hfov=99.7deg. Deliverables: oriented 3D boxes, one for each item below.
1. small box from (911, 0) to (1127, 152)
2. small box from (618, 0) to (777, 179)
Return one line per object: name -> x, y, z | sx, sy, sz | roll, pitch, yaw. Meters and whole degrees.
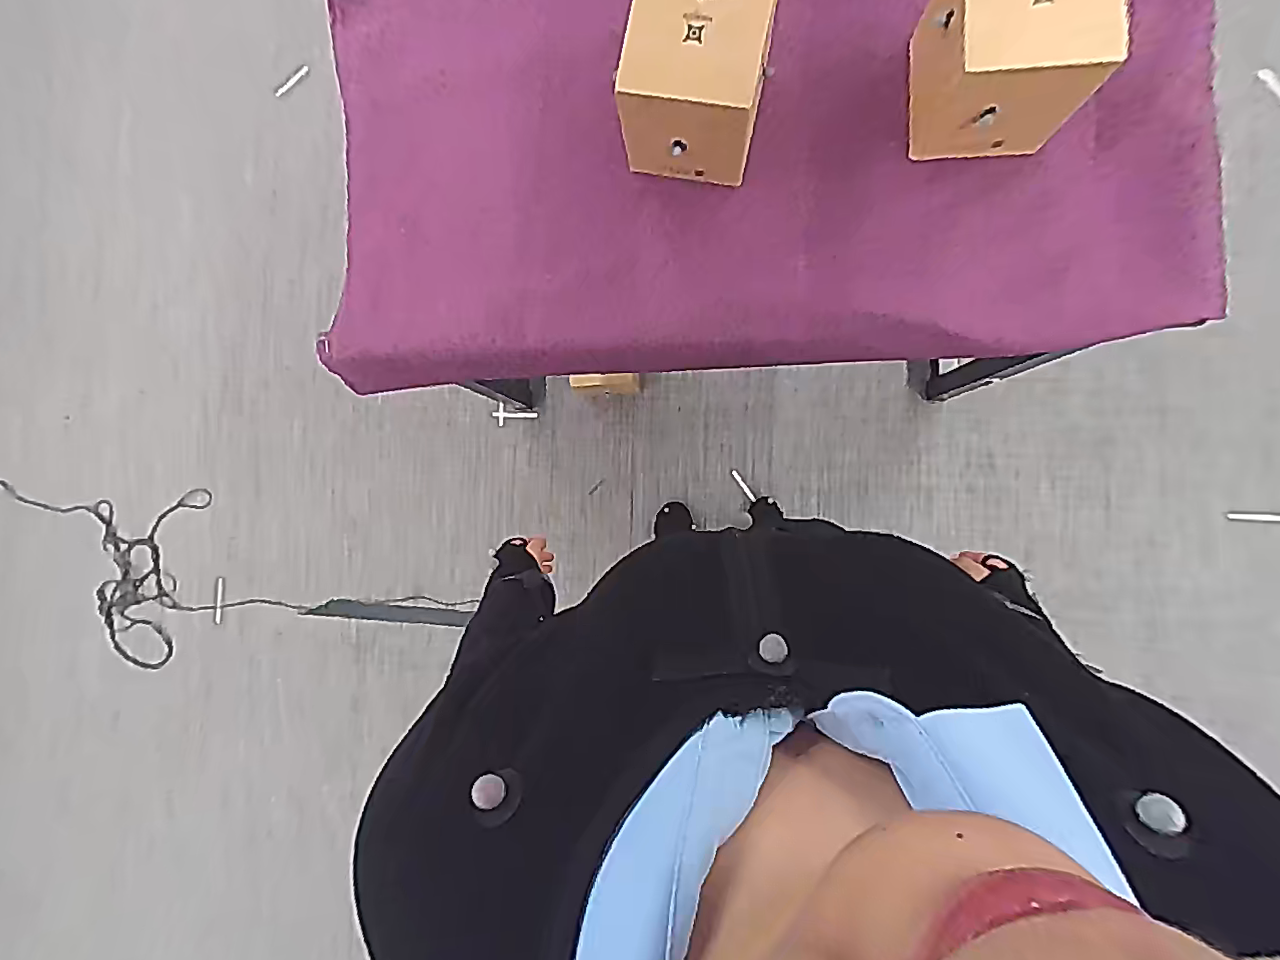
small box -> 0.454, -0.537, 0.673 | 0.168, 0.176, 0.179 | 1, 88, 7
small box -> 0.079, -0.532, 0.712 | 0.168, 0.176, 0.179 | 13, 90, 5
